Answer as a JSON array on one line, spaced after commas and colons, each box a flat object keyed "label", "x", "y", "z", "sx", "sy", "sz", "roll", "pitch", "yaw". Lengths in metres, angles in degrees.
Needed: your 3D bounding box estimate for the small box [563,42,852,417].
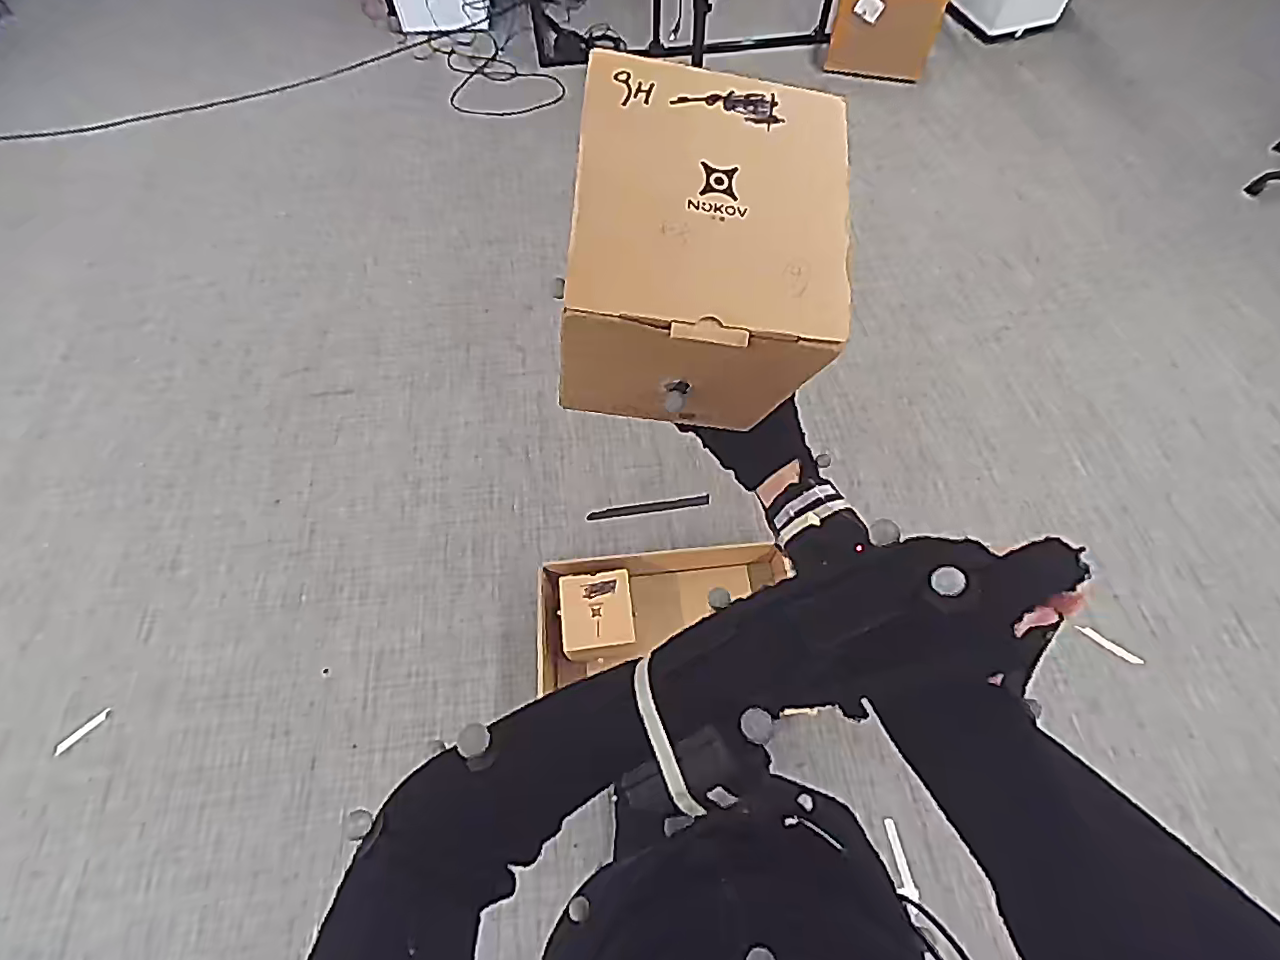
[{"label": "small box", "x": 0.035, "y": -0.156, "z": 0.395, "sx": 0.168, "sy": 0.176, "sz": 0.179, "roll": 6, "pitch": 78, "yaw": -8}]
